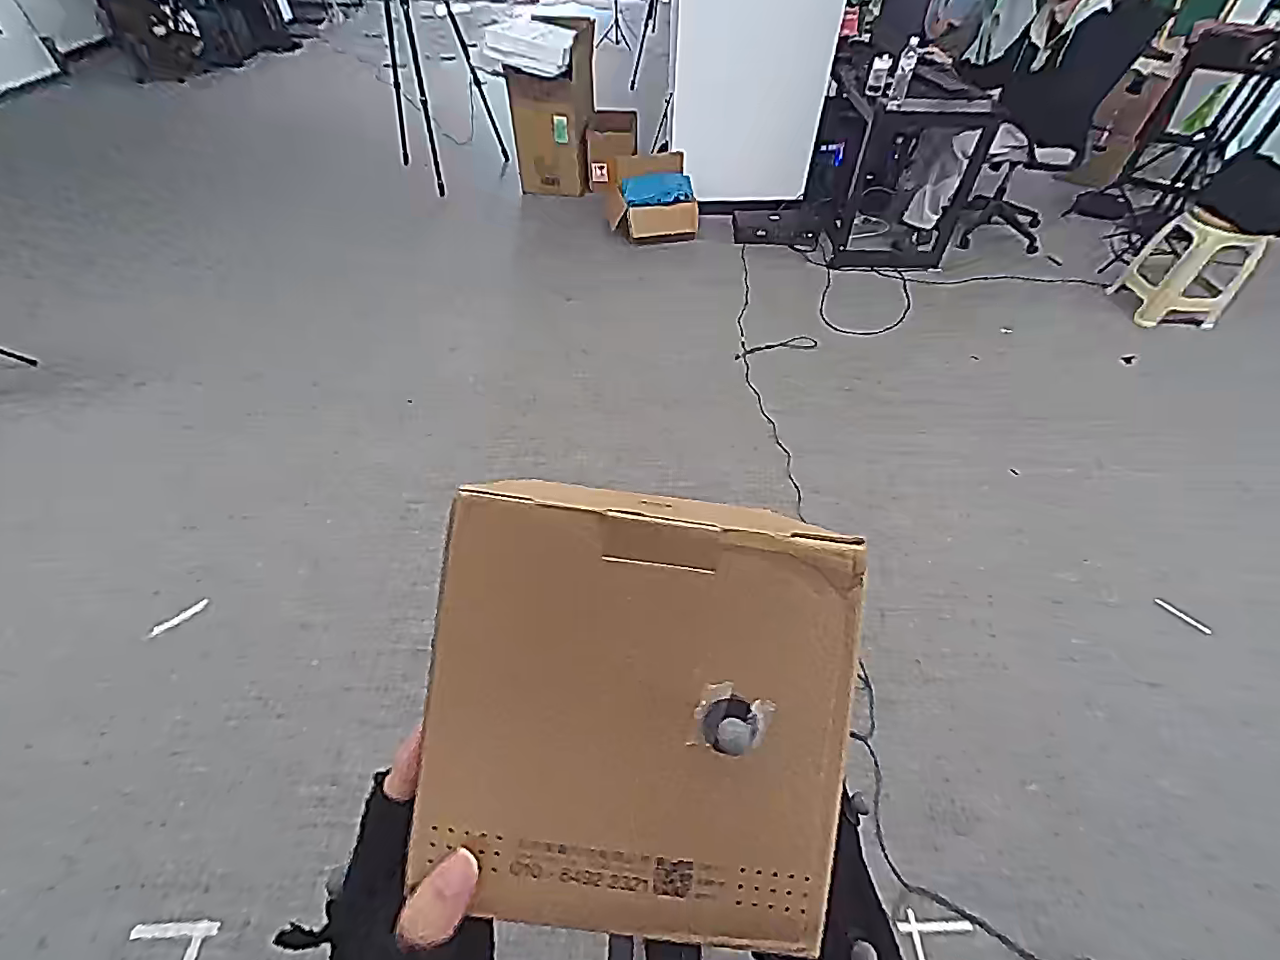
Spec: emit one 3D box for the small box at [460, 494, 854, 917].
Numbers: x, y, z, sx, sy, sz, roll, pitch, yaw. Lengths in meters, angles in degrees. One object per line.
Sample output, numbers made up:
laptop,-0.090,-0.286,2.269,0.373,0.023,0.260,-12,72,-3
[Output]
small box,0.004,0.104,0.316,0.168,0.179,0.176,8,90,0
